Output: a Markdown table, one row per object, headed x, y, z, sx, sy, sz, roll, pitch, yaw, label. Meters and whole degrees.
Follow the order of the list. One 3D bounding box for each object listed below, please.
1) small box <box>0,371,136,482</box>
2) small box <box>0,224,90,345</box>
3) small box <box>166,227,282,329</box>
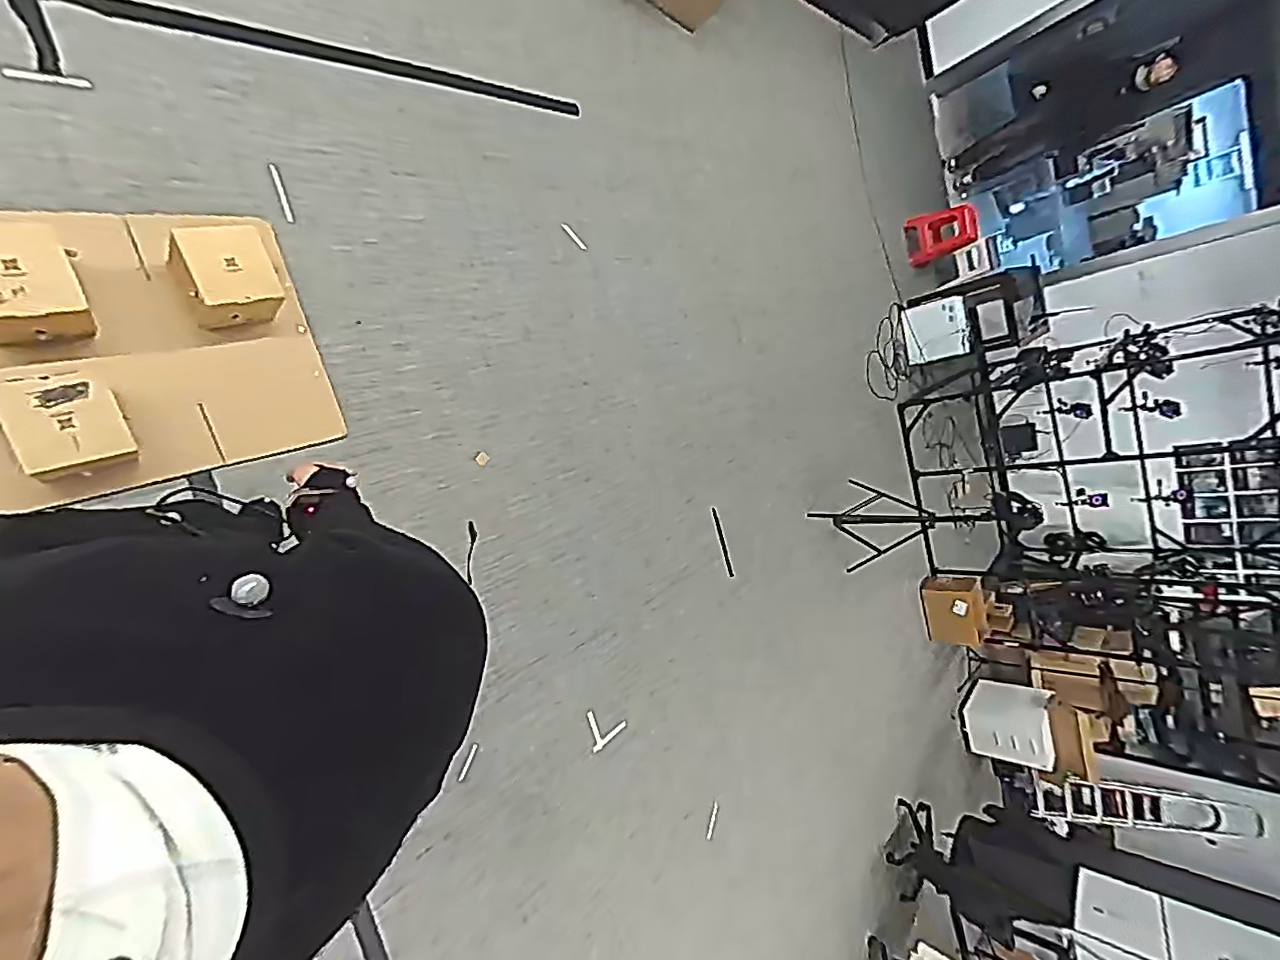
| x | y | z | sx | sy | sz | roll | pitch | yaw | label |
| --- | --- | --- | --- | --- | --- | --- | --- | --- | --- |
| -1.162 | -0.104 | 1.093 | 0.168 | 0.176 | 0.179 | -26 | 104 | -41 | small box |
| -1.230 | -0.380 | 1.062 | 0.168 | 0.176 | 0.179 | -25 | 102 | -41 | small box |
| -1.000 | -0.483 | 1.296 | 0.168 | 0.176 | 0.179 | -29 | 105 | -41 | small box |
